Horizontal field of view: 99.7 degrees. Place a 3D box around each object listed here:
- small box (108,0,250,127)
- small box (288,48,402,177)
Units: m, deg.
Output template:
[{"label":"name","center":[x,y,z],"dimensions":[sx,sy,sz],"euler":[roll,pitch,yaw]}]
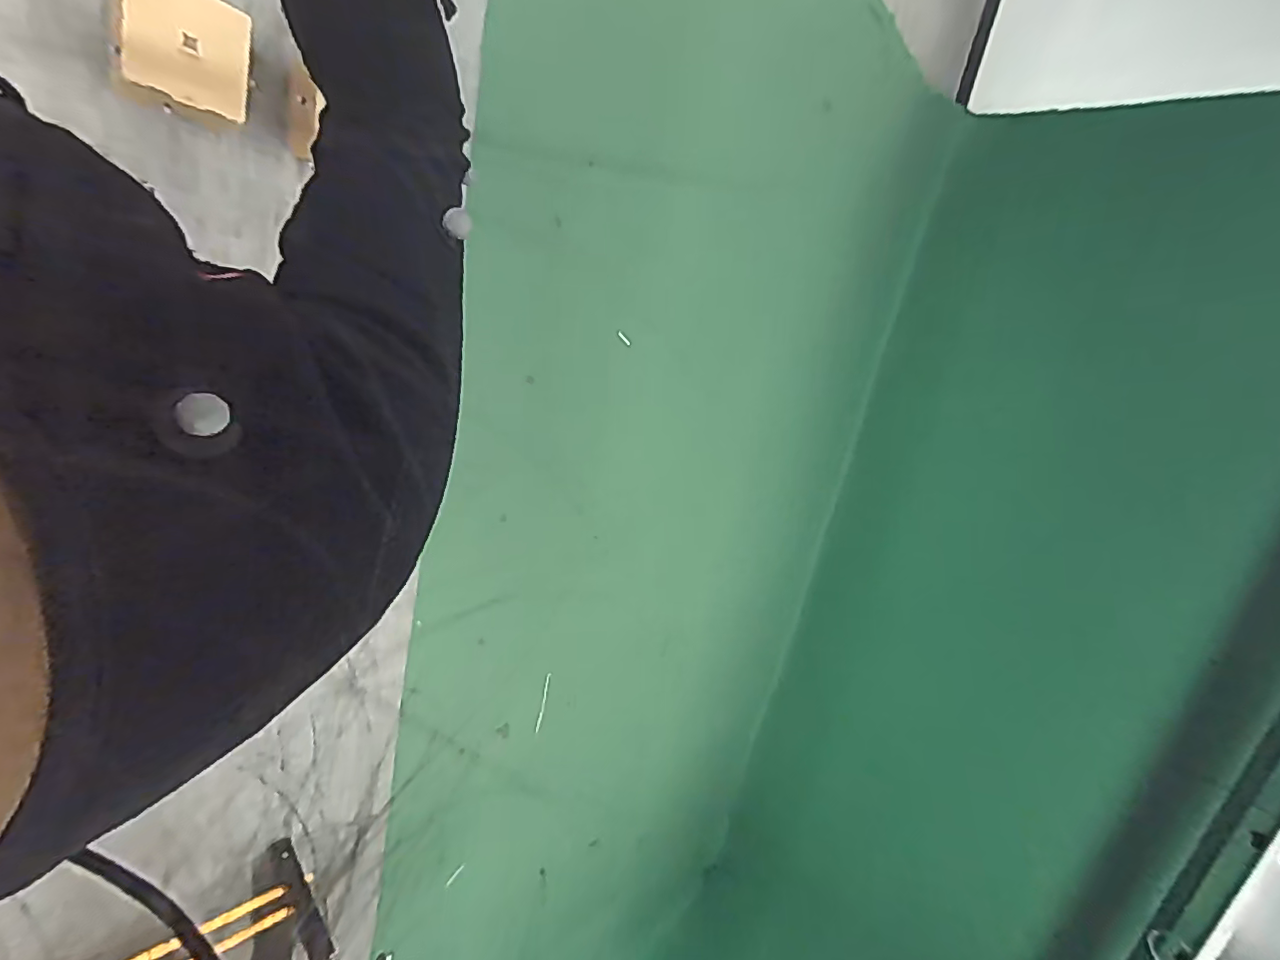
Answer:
[{"label":"small box","center":[-0.807,-0.750,0.944],"dimensions":[0.168,0.176,0.179],"euler":[-2,111,-49]},{"label":"small box","center":[-0.627,-0.761,1.143],"dimensions":[0.168,0.176,0.179],"euler":[-6,113,-47]}]
